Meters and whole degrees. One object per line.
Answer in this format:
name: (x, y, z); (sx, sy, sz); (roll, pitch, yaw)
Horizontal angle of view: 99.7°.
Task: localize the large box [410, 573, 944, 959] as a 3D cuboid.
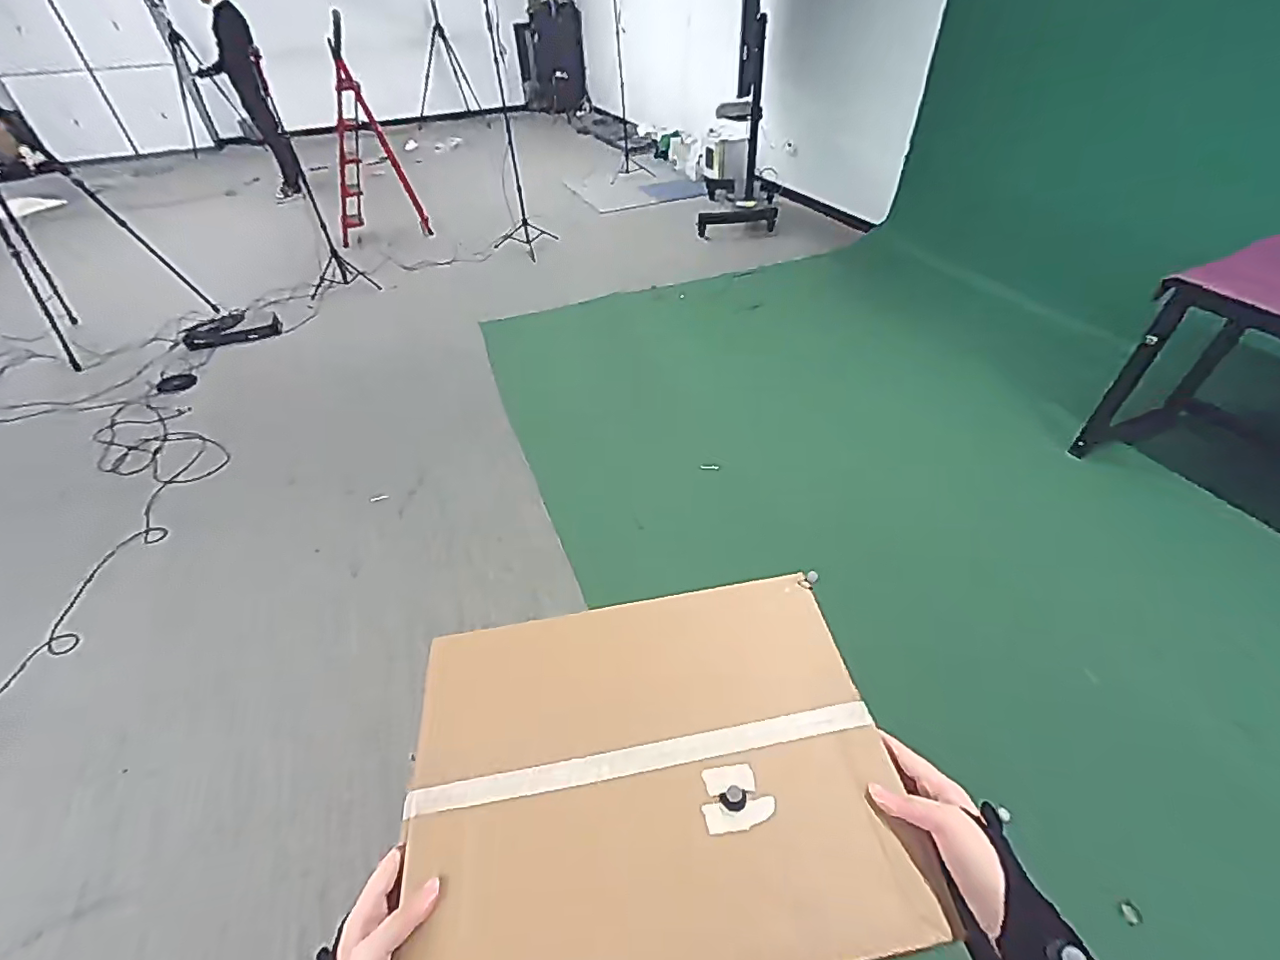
large box: (0.014, 0.346, 0.589); (0.408, 0.320, 0.320); (-9, 46, -5)
